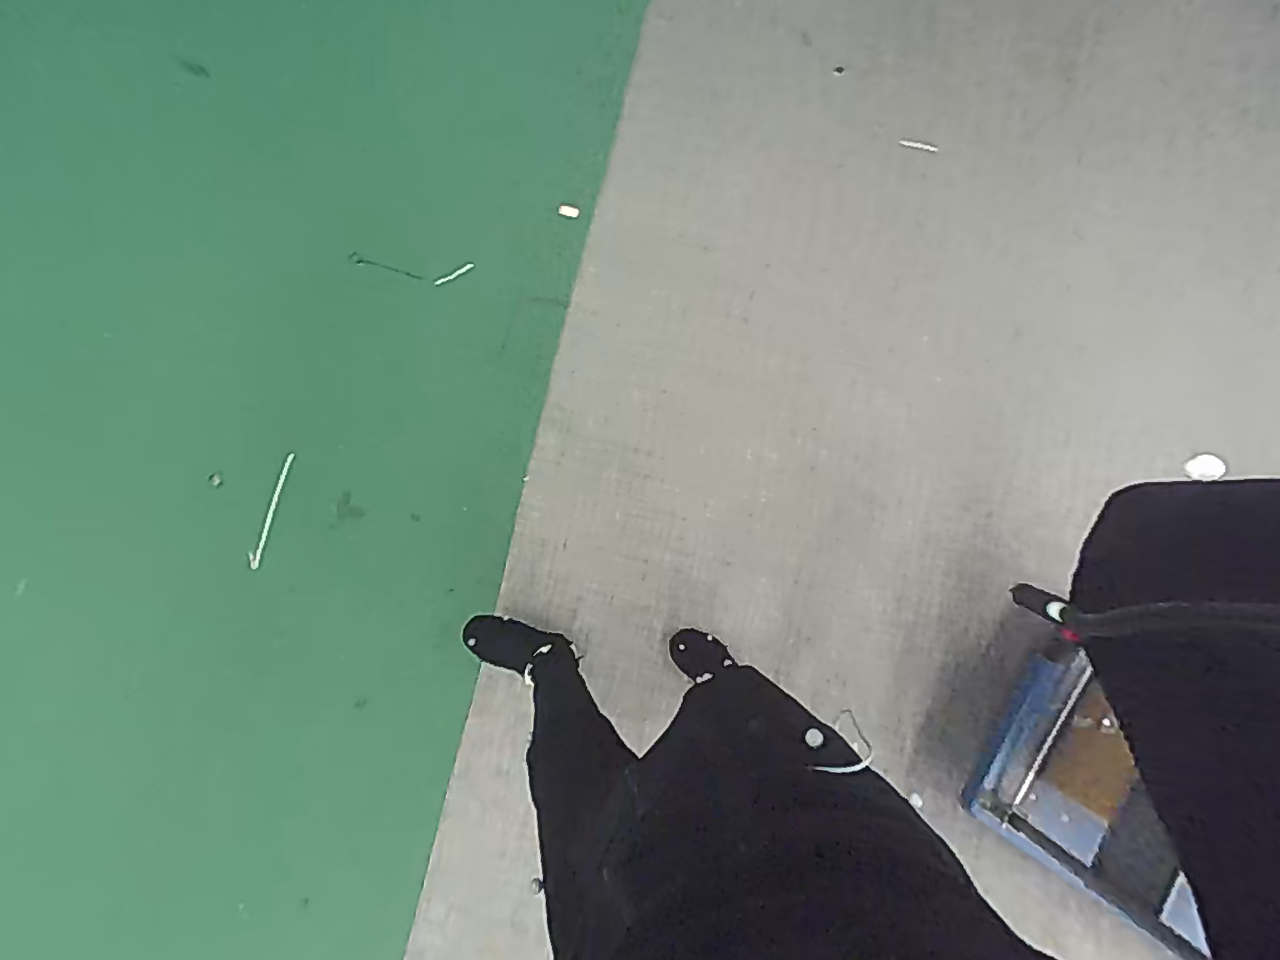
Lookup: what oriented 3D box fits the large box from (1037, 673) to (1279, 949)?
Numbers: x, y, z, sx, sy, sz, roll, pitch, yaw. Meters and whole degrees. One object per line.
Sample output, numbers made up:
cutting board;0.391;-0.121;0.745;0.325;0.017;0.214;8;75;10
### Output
large box;1.125;0.647;1.064;0.408;0.320;0.320;35;84;5
